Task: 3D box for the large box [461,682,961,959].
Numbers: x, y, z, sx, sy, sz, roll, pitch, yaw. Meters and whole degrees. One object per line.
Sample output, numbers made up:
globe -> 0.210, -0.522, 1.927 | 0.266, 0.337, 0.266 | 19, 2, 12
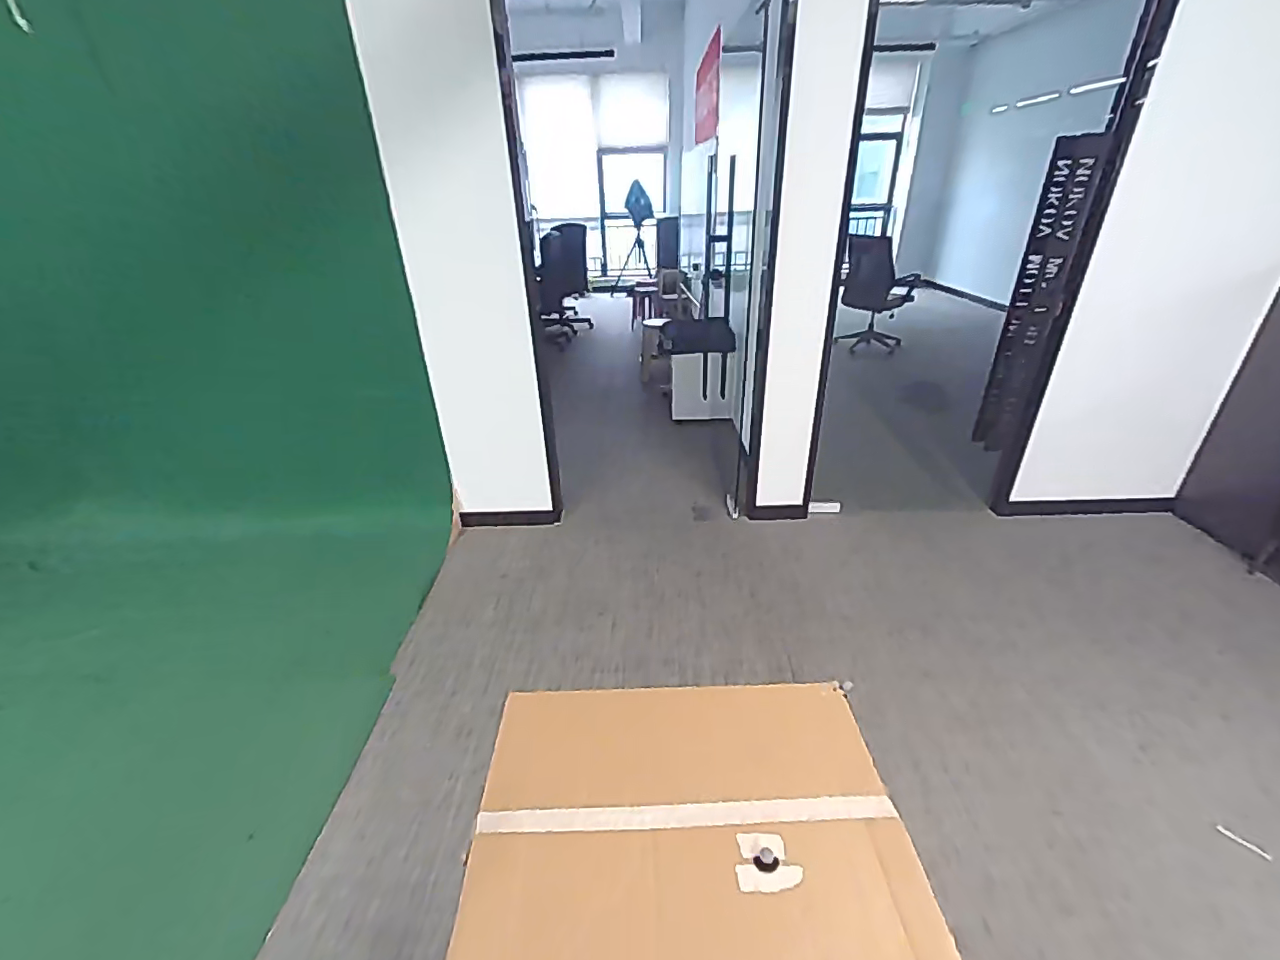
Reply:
large box -> 0.050, 0.458, 0.599 | 0.408, 0.320, 0.320 | -1, 28, -1
